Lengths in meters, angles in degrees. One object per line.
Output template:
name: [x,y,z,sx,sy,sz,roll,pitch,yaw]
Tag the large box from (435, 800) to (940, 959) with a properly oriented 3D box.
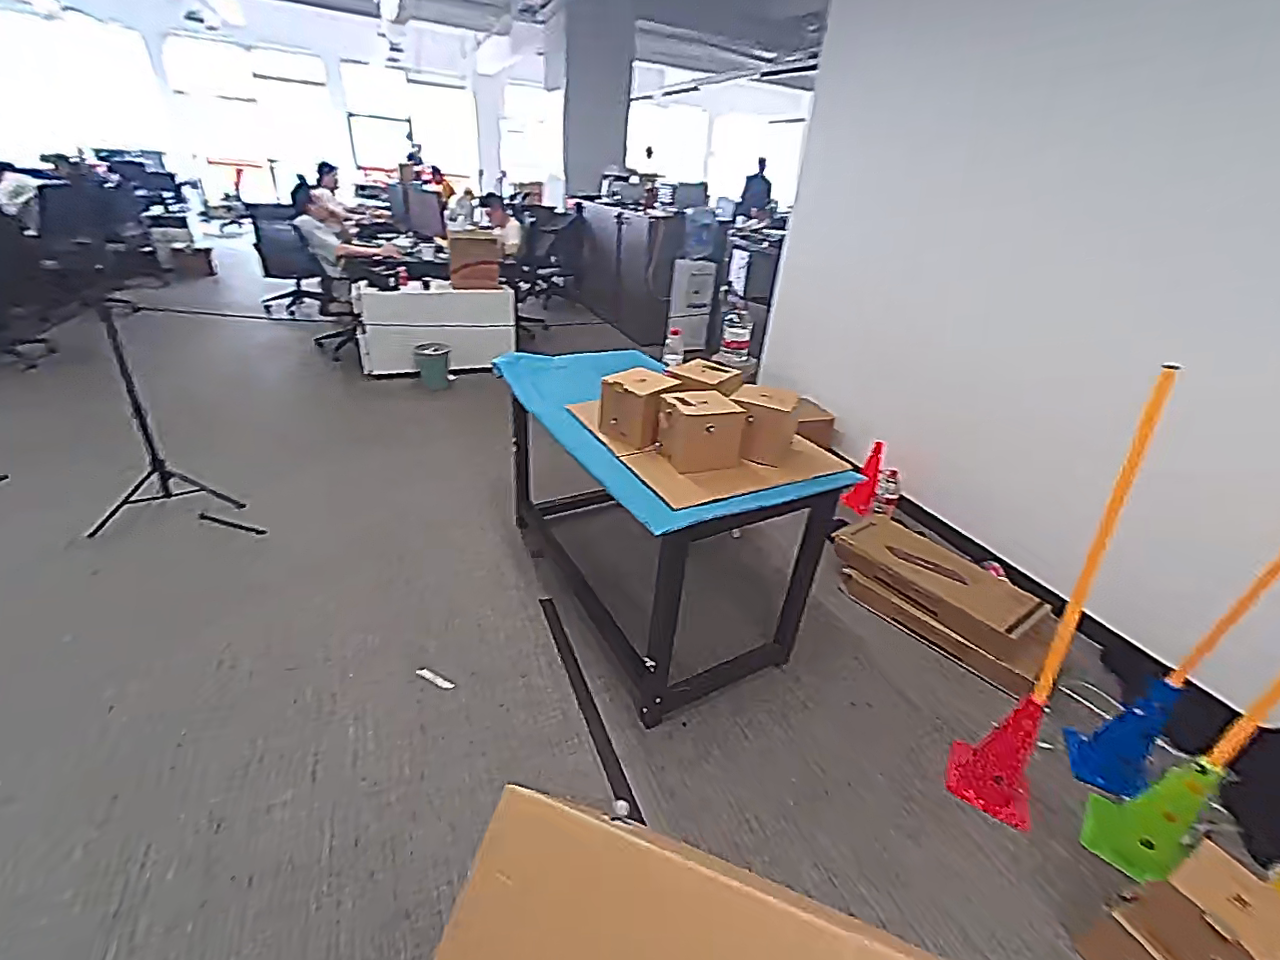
large box: [0.060,0.470,0.377,0.408,0.320,0.320,10,59,19]
